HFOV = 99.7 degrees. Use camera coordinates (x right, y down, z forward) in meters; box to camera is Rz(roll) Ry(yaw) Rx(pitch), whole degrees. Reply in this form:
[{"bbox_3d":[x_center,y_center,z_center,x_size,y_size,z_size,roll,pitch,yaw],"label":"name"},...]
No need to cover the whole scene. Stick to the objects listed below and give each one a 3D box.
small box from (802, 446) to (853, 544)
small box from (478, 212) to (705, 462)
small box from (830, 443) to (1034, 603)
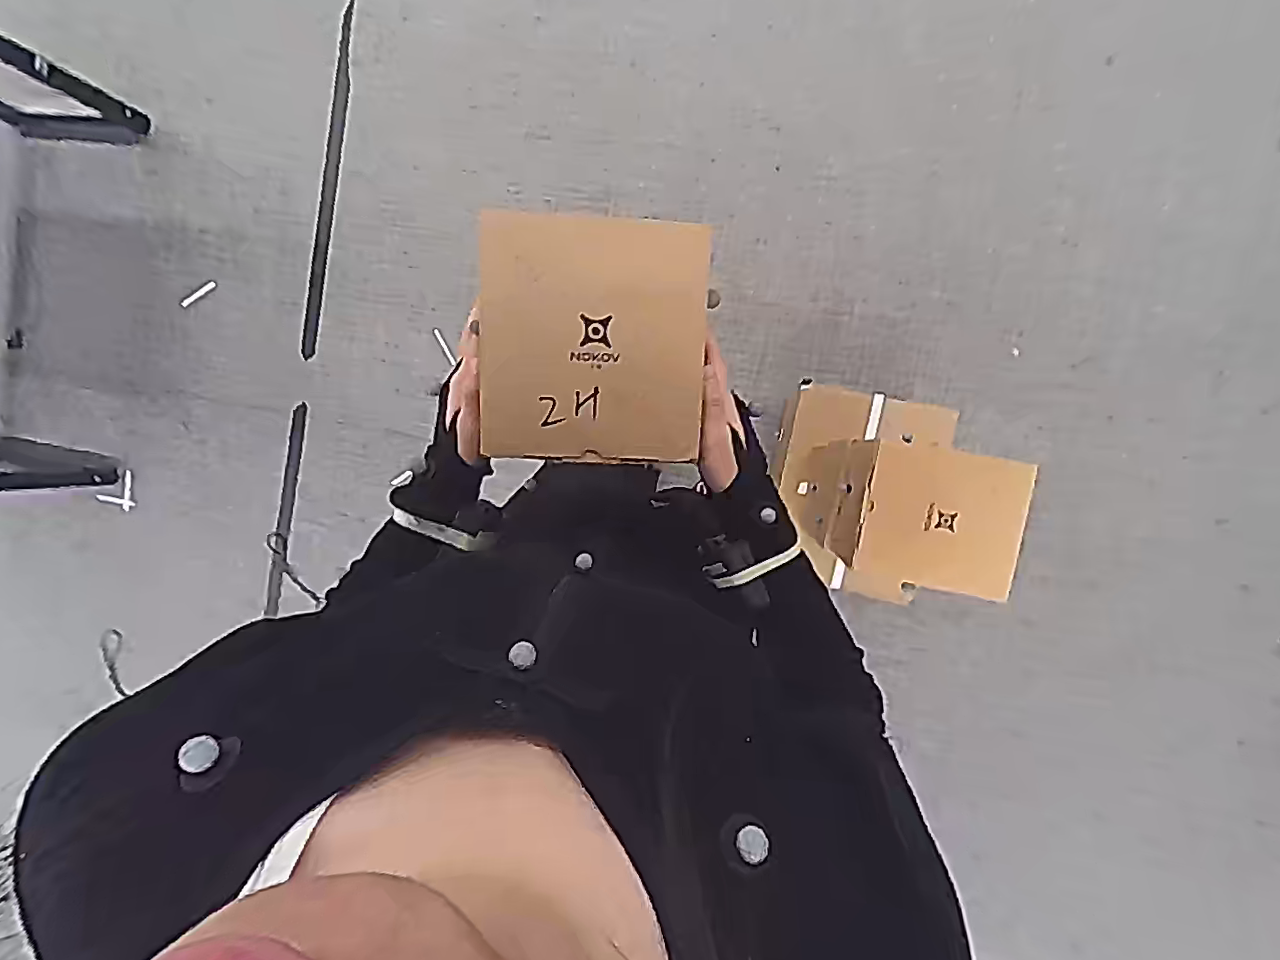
[{"bbox_3d":[0.413,0.034,1.039,0.168,0.176,0.179,10,95,11],"label":"small box"},{"bbox_3d":[-0.042,-0.112,0.477,0.168,0.176,0.179,1,98,-4],"label":"small box"},{"bbox_3d":[0.366,0.044,0.715,0.179,0.176,0.168,11,95,11],"label":"small box"}]
